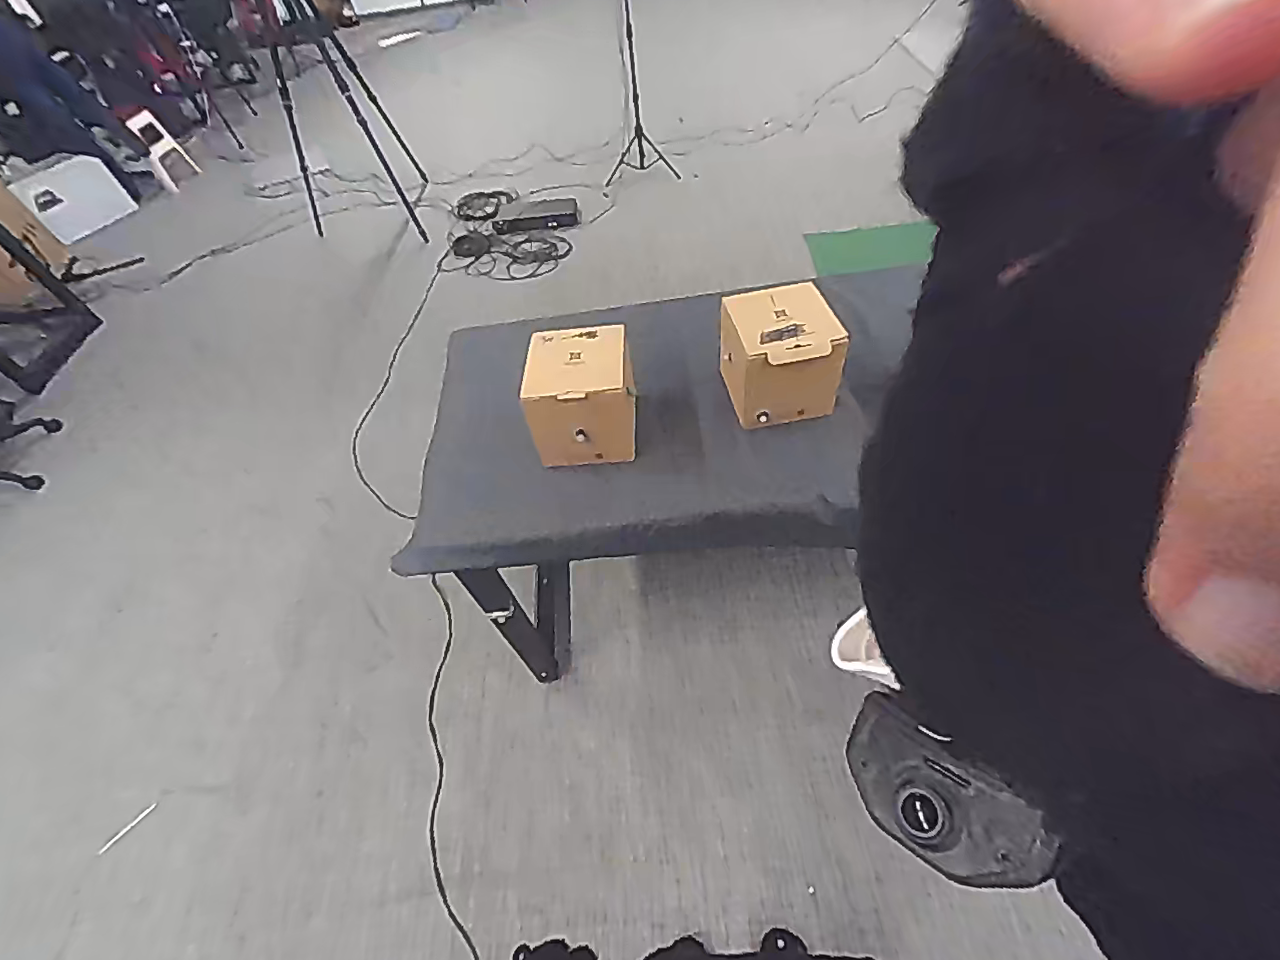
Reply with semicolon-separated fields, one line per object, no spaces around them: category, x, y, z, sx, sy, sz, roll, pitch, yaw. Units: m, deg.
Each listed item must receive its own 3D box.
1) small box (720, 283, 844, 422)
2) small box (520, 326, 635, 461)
small box;0.244;-0.219;0.968;0.168;0.176;0.179;-10;50;0
small box;-0.100;-0.145;0.955;0.168;0.176;0.179;-4;51;4
